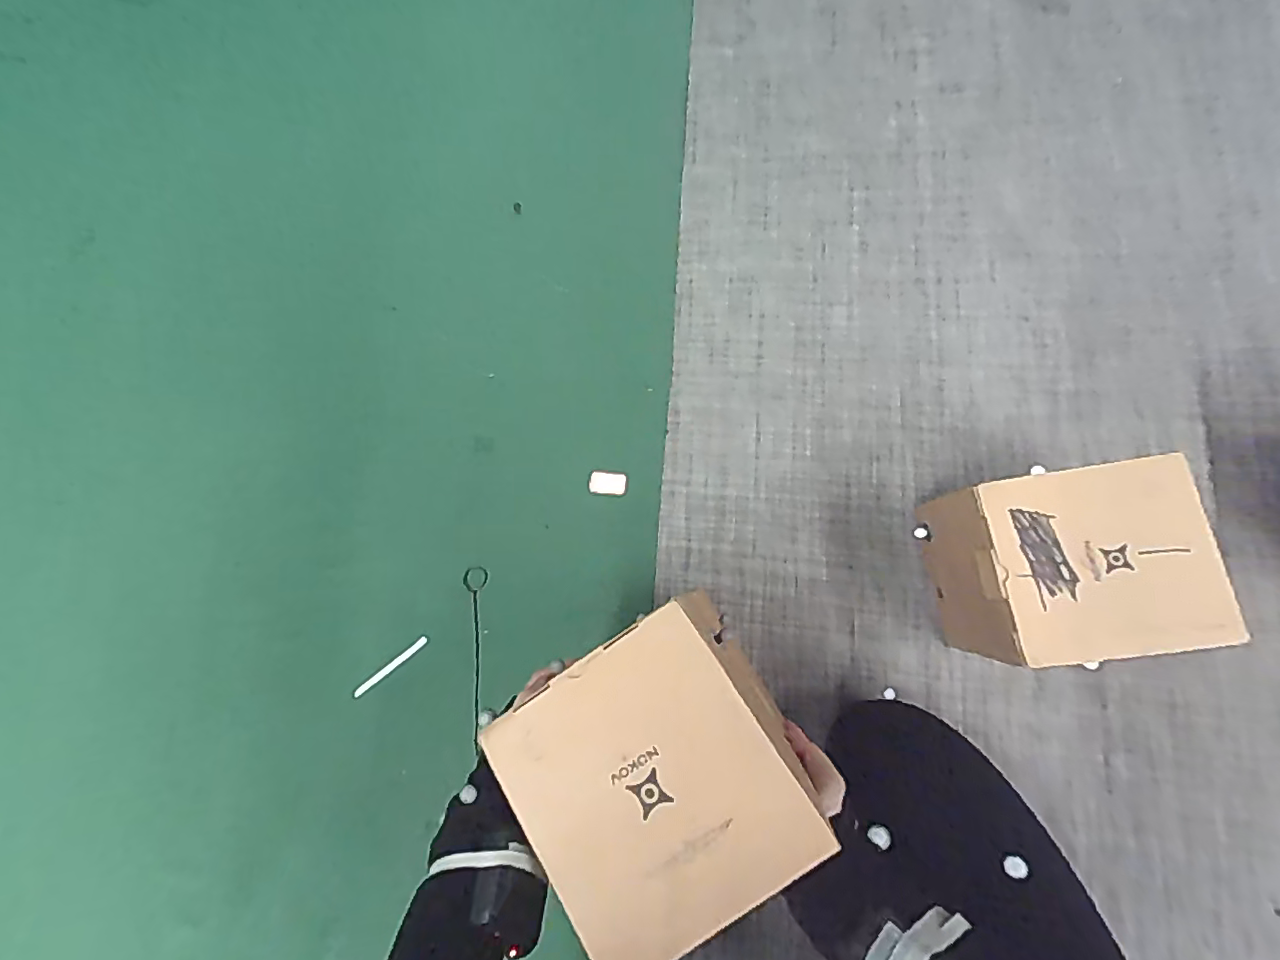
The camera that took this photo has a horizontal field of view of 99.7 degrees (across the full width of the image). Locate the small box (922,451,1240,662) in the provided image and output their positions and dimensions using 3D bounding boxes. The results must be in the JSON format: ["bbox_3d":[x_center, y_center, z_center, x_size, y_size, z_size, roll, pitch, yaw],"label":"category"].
[{"bbox_3d":[0.412,0.082,0.549,0.179,0.176,0.168,-10,78,6],"label":"small box"}]
